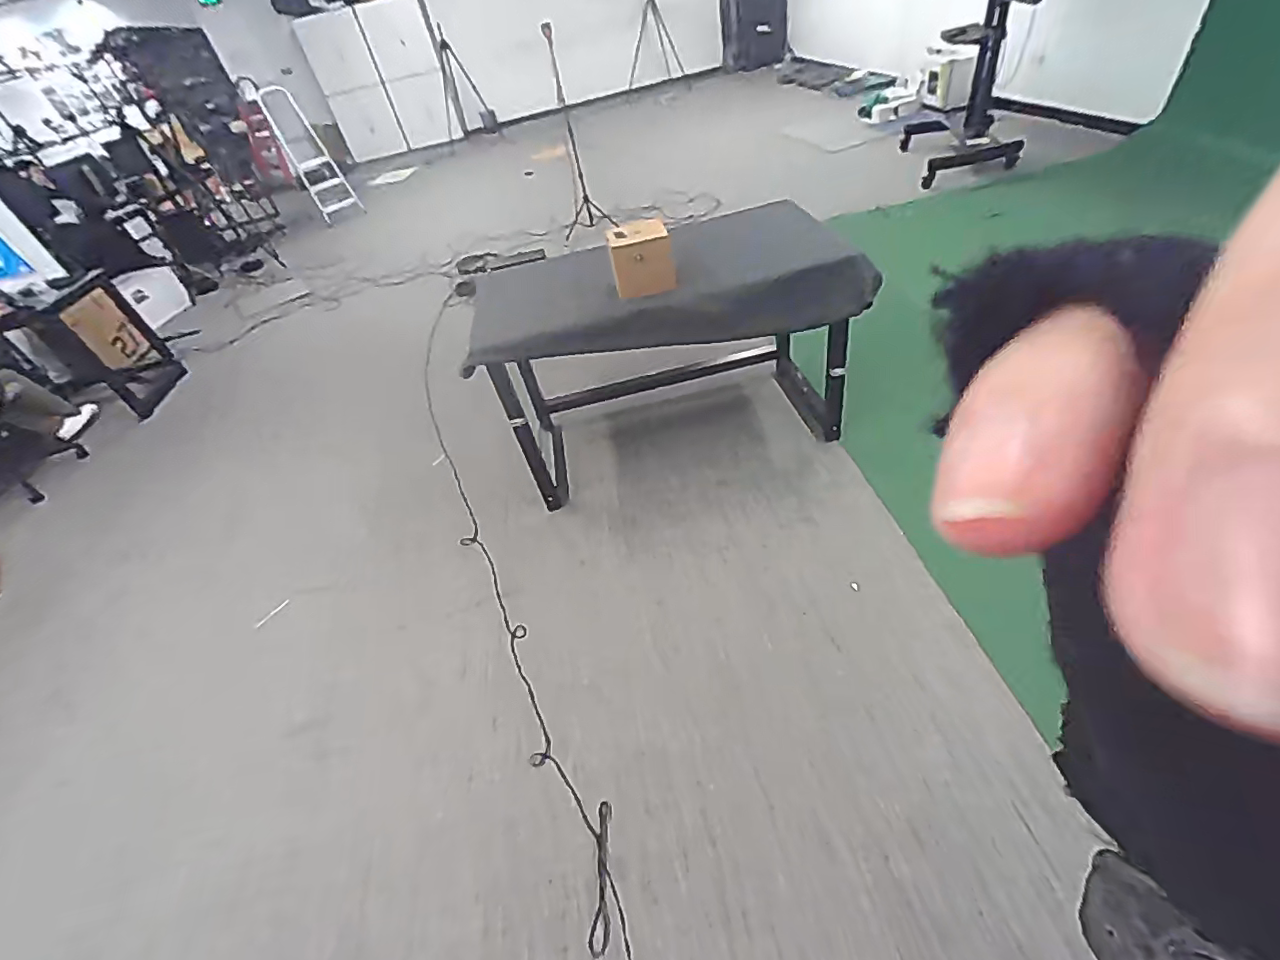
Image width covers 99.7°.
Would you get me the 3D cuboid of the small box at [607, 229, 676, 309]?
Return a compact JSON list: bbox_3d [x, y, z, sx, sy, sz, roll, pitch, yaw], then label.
[{"bbox_3d":[0.005,-0.655,1.686,0.179,0.176,0.168,-13,42,0],"label":"small box"}]
